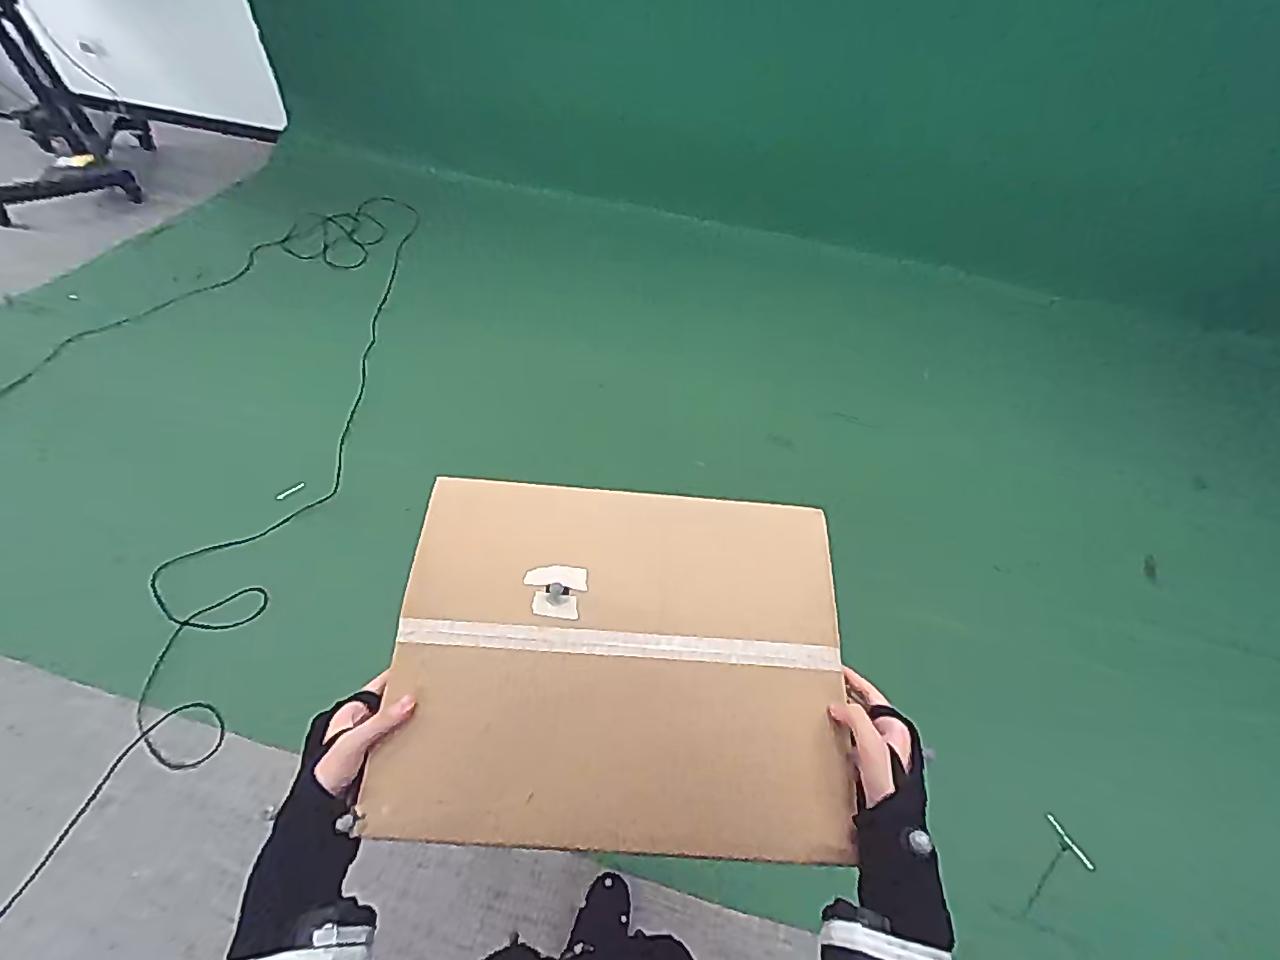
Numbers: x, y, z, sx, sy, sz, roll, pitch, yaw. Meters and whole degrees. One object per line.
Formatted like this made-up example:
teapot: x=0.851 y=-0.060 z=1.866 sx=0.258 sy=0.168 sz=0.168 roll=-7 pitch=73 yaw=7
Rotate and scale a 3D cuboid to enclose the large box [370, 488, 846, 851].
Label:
large box: x=-0.023 y=0.221 z=0.644 sx=0.408 sy=0.320 sz=0.320 roll=5 pitch=63 yaw=-1
